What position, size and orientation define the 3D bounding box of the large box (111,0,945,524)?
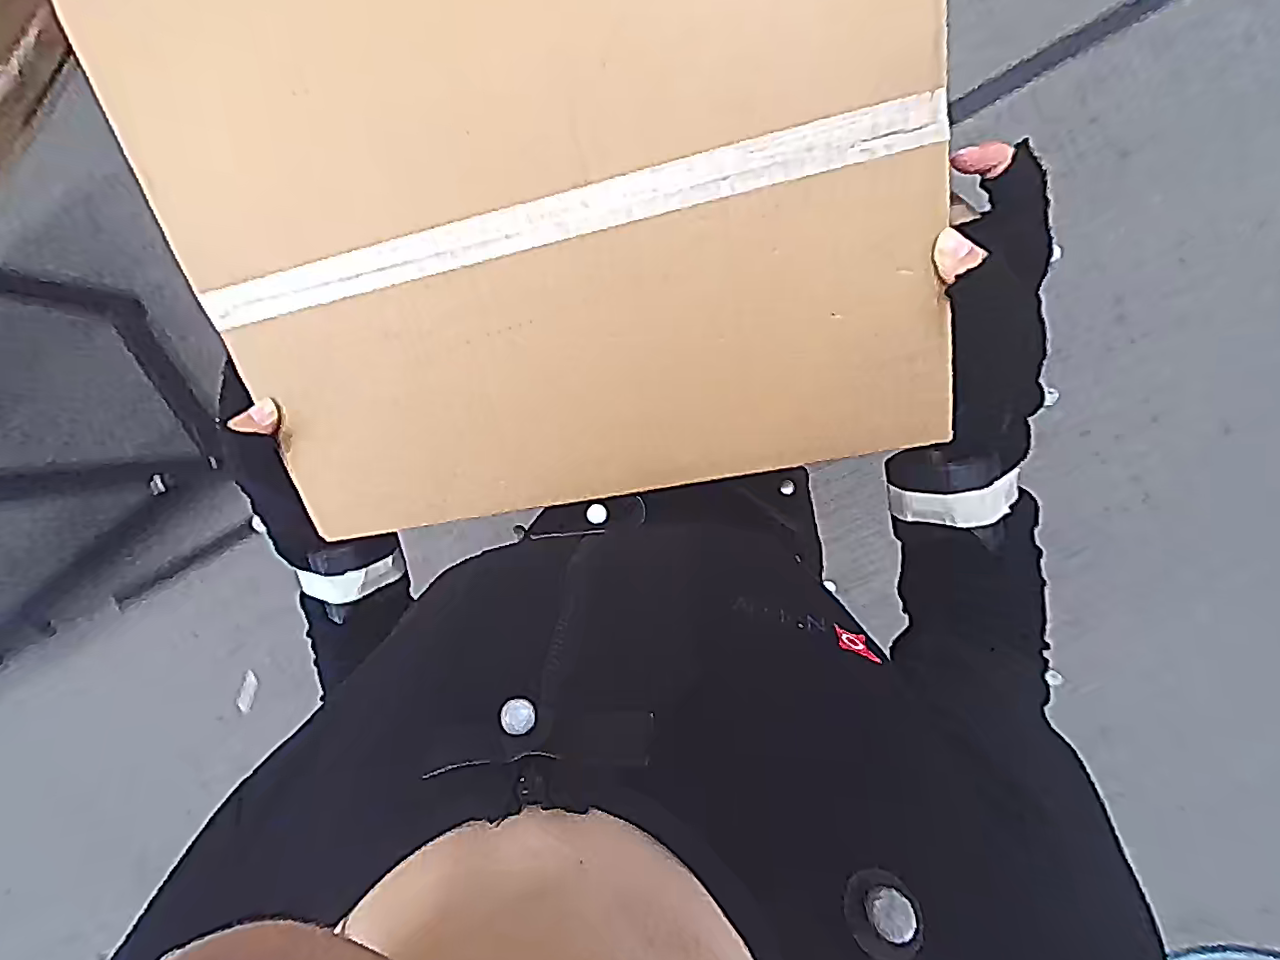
[{"bbox_3d":[-0.034,-0.193,0.427,0.408,0.320,0.320,-8,112,11],"label":"large box"}]
